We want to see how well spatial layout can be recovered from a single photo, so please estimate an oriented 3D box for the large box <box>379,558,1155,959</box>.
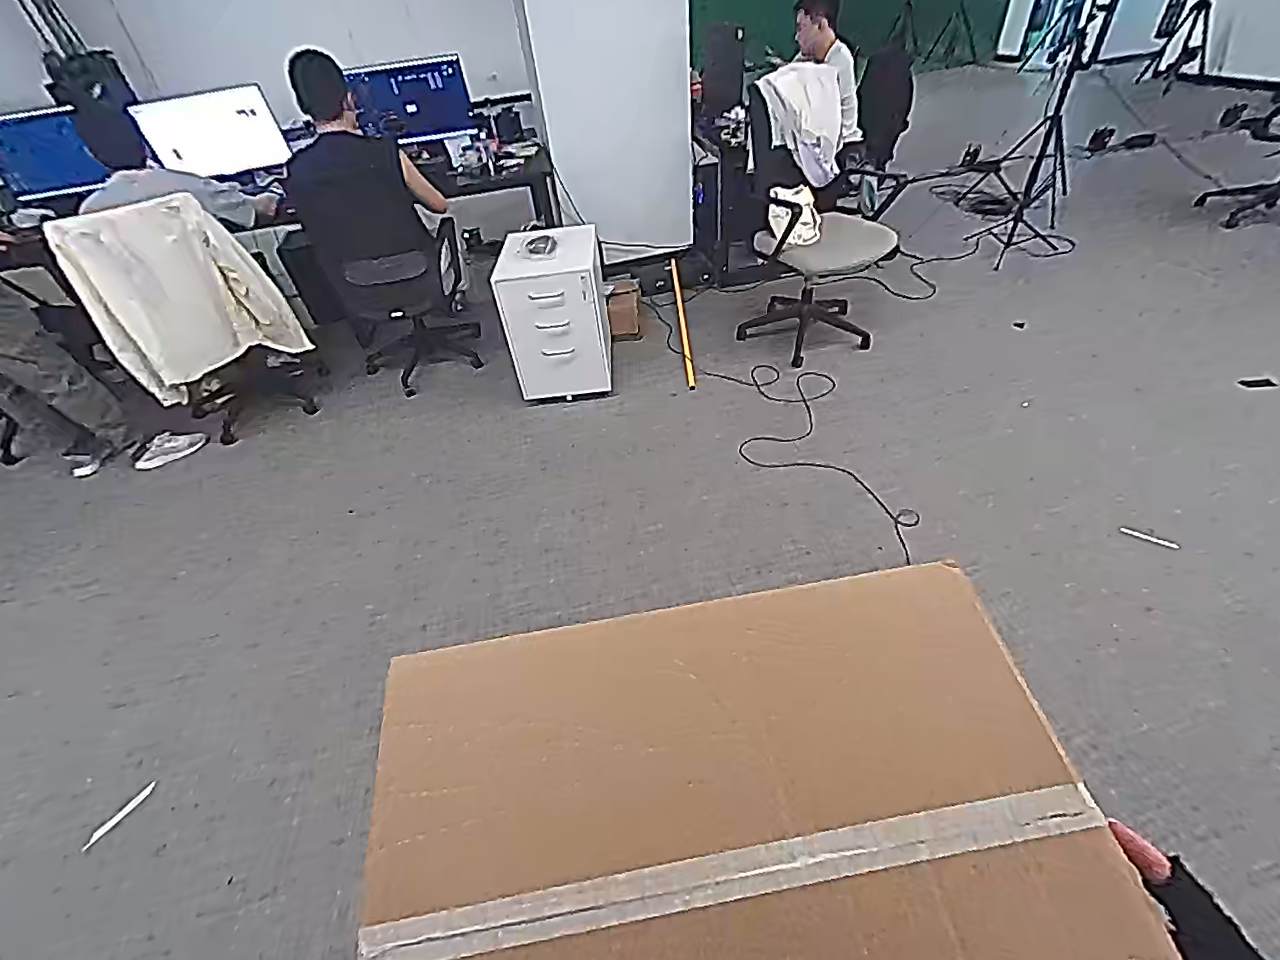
[{"bbox_3d":[0.060,0.301,0.428,0.408,0.320,0.320,-10,55,-2],"label":"large box"}]
